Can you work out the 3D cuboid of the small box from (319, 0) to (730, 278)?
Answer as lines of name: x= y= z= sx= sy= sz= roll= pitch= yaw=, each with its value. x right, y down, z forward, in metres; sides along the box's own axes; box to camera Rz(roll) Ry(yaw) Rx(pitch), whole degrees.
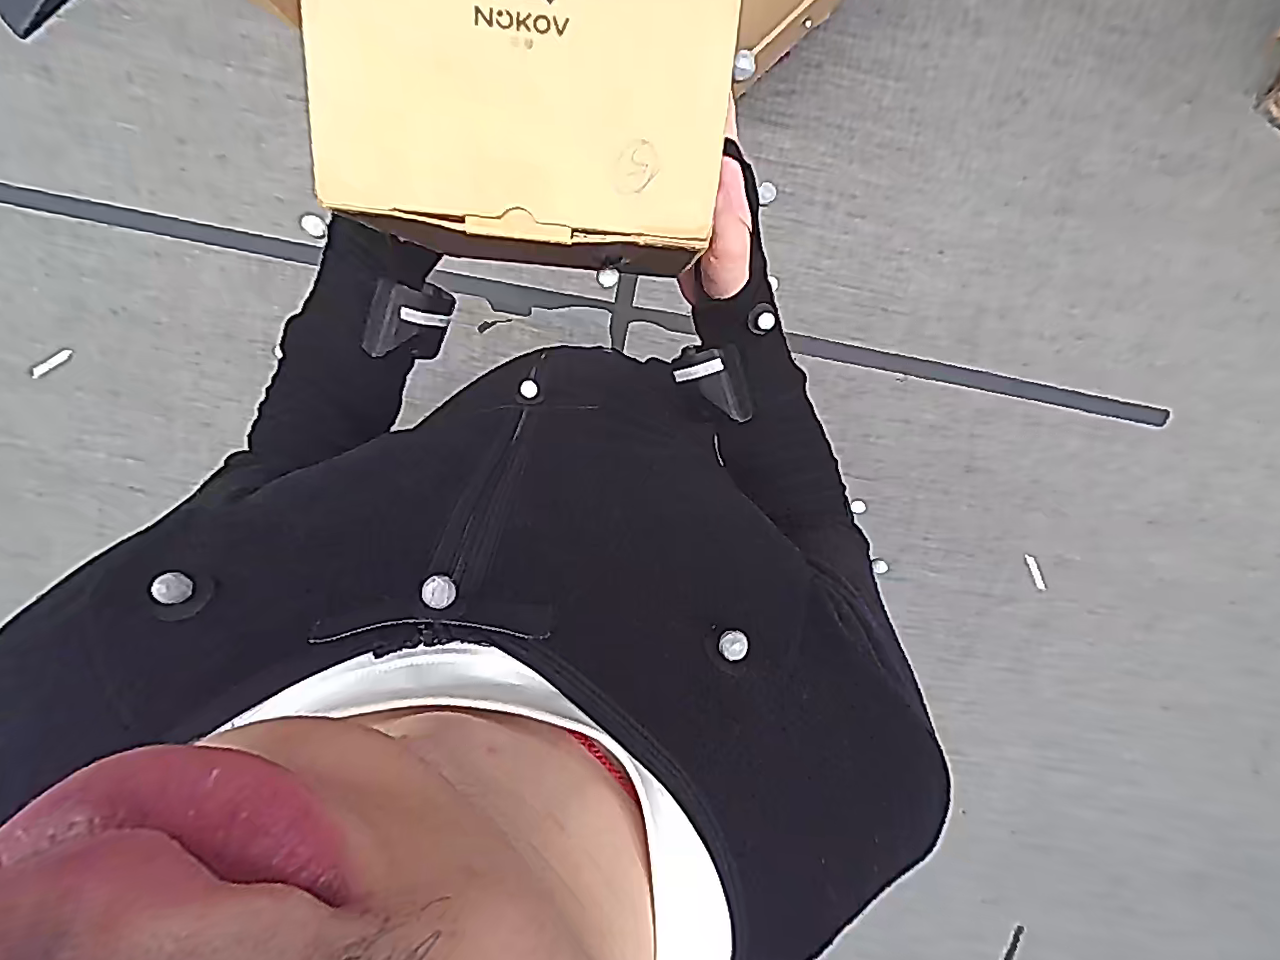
small box: x=-0.046 y=-0.212 z=0.293 sx=0.168 sy=0.176 sz=0.179 roll=5 pitch=105 yaw=-3
